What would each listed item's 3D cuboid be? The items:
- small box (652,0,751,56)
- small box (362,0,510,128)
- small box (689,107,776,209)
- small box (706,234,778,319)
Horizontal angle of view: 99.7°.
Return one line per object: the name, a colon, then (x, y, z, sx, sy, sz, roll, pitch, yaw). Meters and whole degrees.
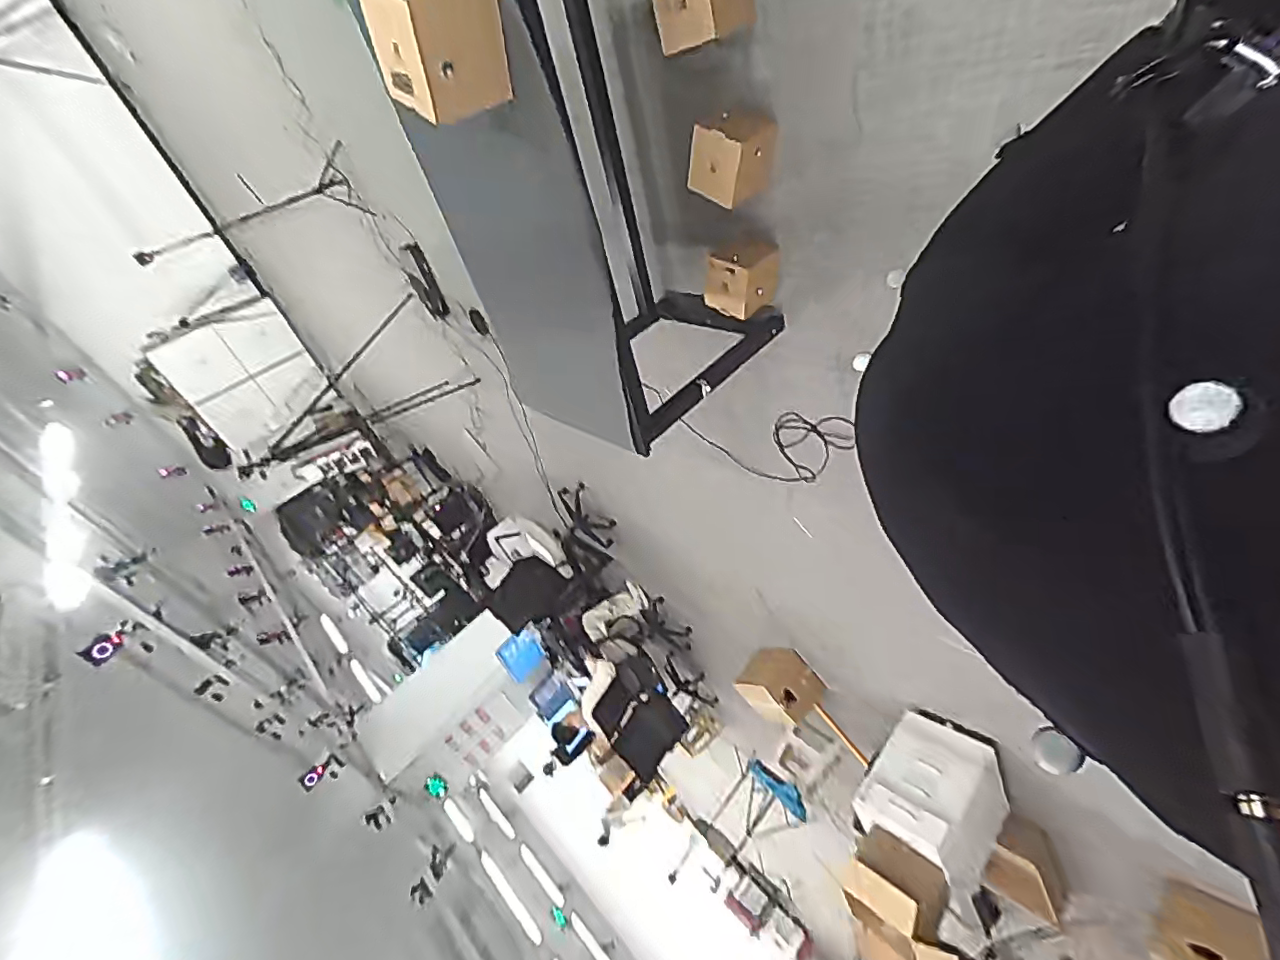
small box: (0.152, -1.170, 1.310, 0.179, 0.176, 0.168, 22, 143, 43)
small box: (-0.350, -0.770, 0.953, 0.168, 0.176, 0.179, 40, 155, 22)
small box: (0.258, -0.907, 1.514, 0.168, 0.176, 0.179, 38, 154, 22)
small box: (0.328, -0.661, 1.749, 0.168, 0.176, 0.179, 33, 151, 28)
